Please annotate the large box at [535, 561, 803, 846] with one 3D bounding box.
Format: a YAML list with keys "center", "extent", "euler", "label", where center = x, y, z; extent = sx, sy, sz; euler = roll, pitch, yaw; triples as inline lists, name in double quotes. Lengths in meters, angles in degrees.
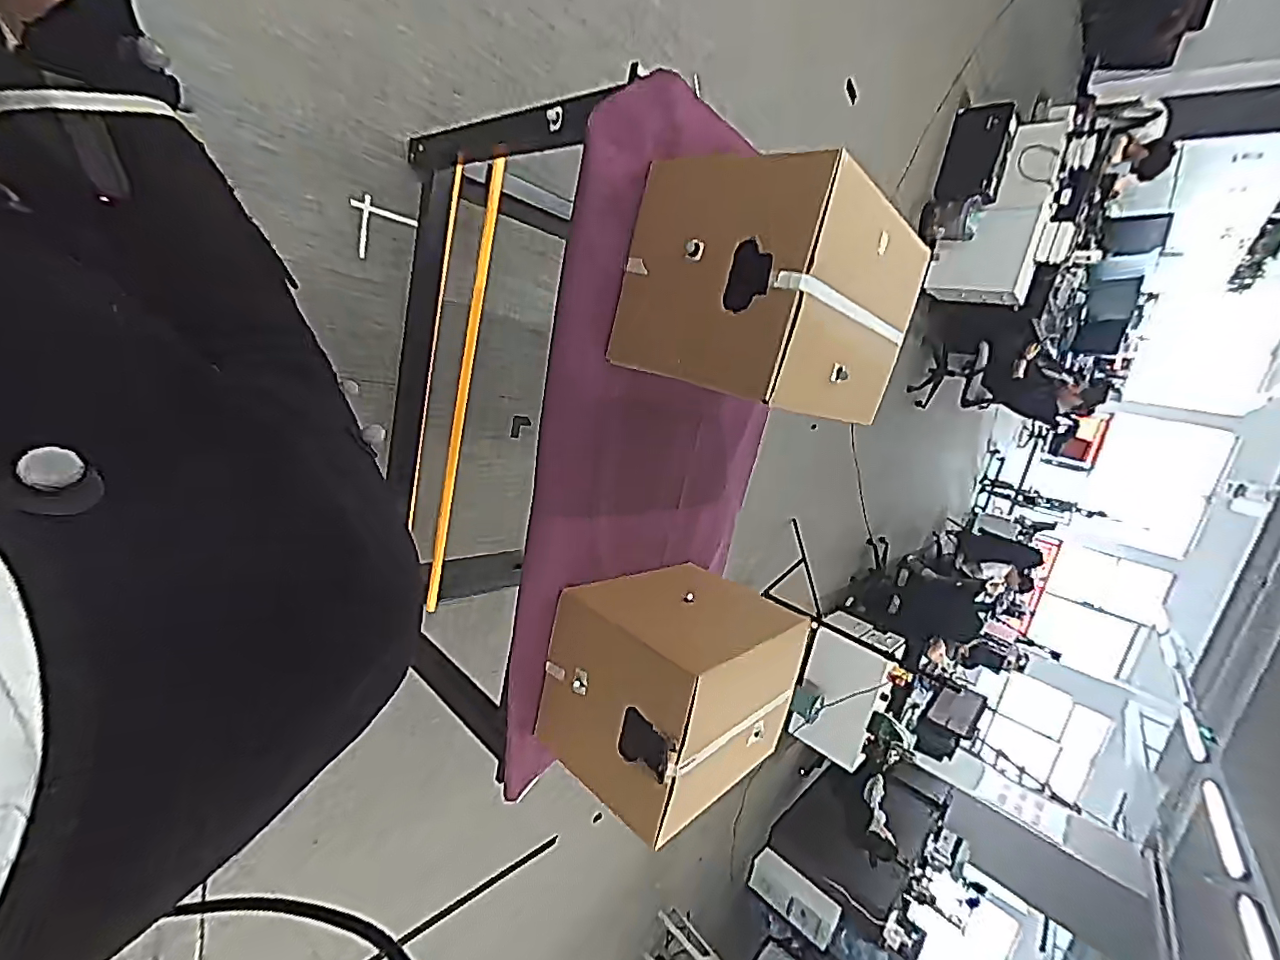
- center: [0.060, 0.375, 1.046]
  extent: [0.408, 0.320, 0.320]
  euler: [-2, 109, -51]
  label: "large box"
